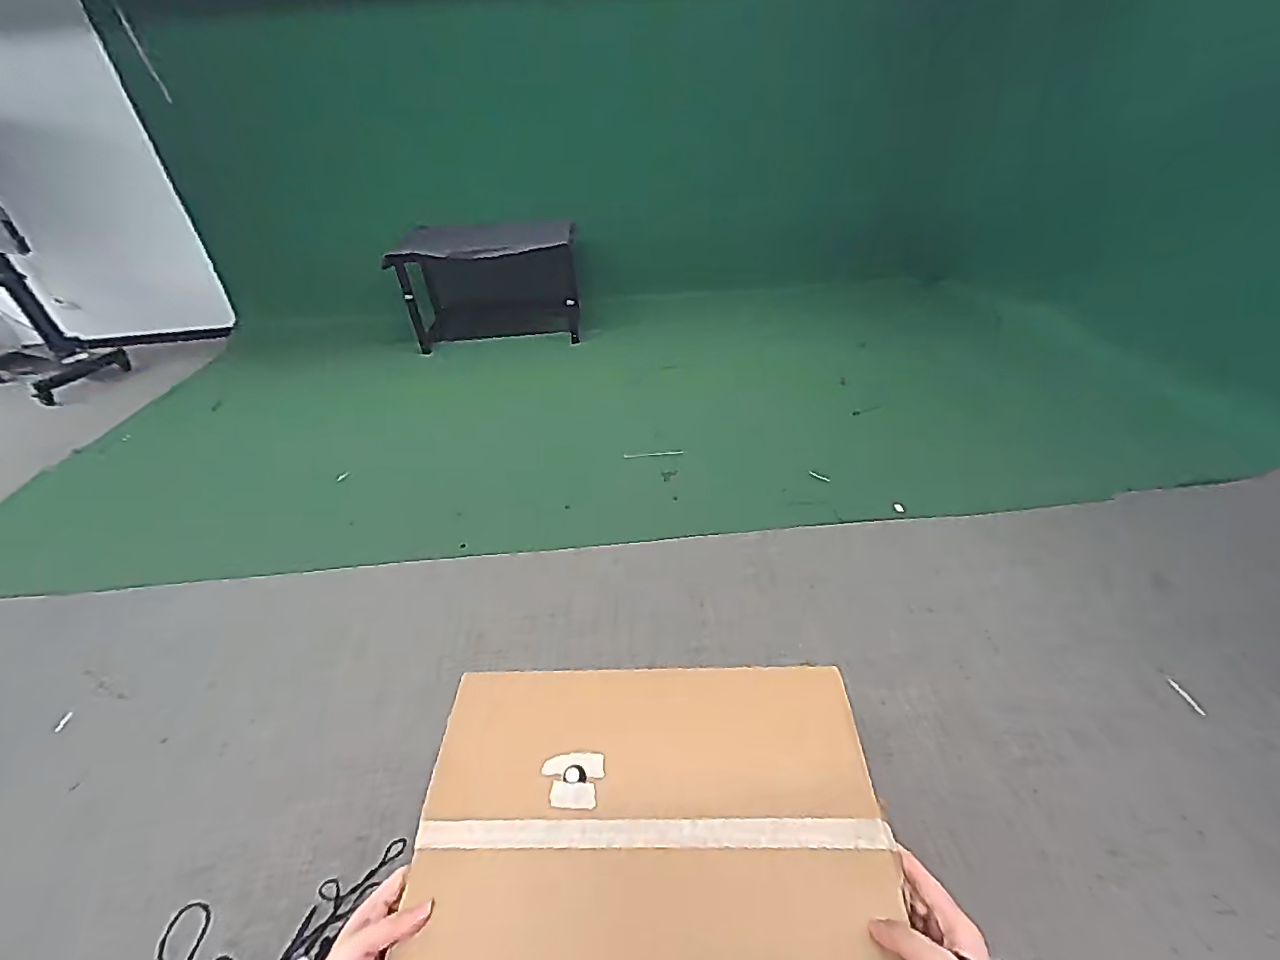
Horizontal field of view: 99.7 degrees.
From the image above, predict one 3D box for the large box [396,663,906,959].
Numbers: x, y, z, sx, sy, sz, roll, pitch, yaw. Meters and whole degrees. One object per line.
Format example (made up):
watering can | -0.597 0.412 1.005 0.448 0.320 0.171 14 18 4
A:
large box | 0.019 0.422 0.580 0.408 0.320 0.320 -4 42 5
